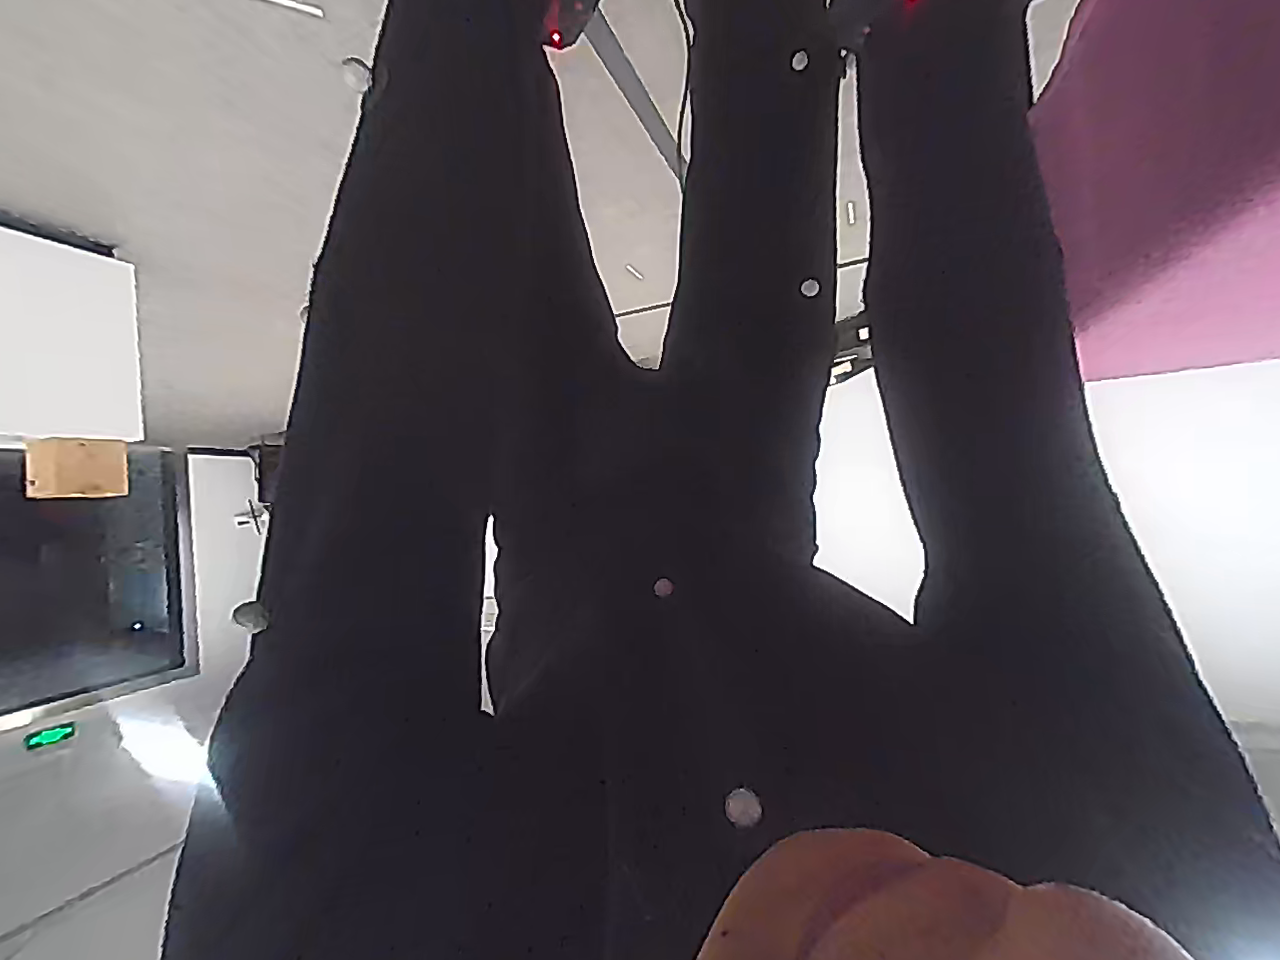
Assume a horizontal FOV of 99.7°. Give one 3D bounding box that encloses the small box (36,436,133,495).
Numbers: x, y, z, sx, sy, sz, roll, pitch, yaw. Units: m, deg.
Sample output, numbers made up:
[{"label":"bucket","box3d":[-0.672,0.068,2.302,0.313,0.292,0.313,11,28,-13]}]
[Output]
[{"label":"small box","box3d":[-1.708,-0.041,1.665,0.179,0.176,0.168,-4,179,24]}]
